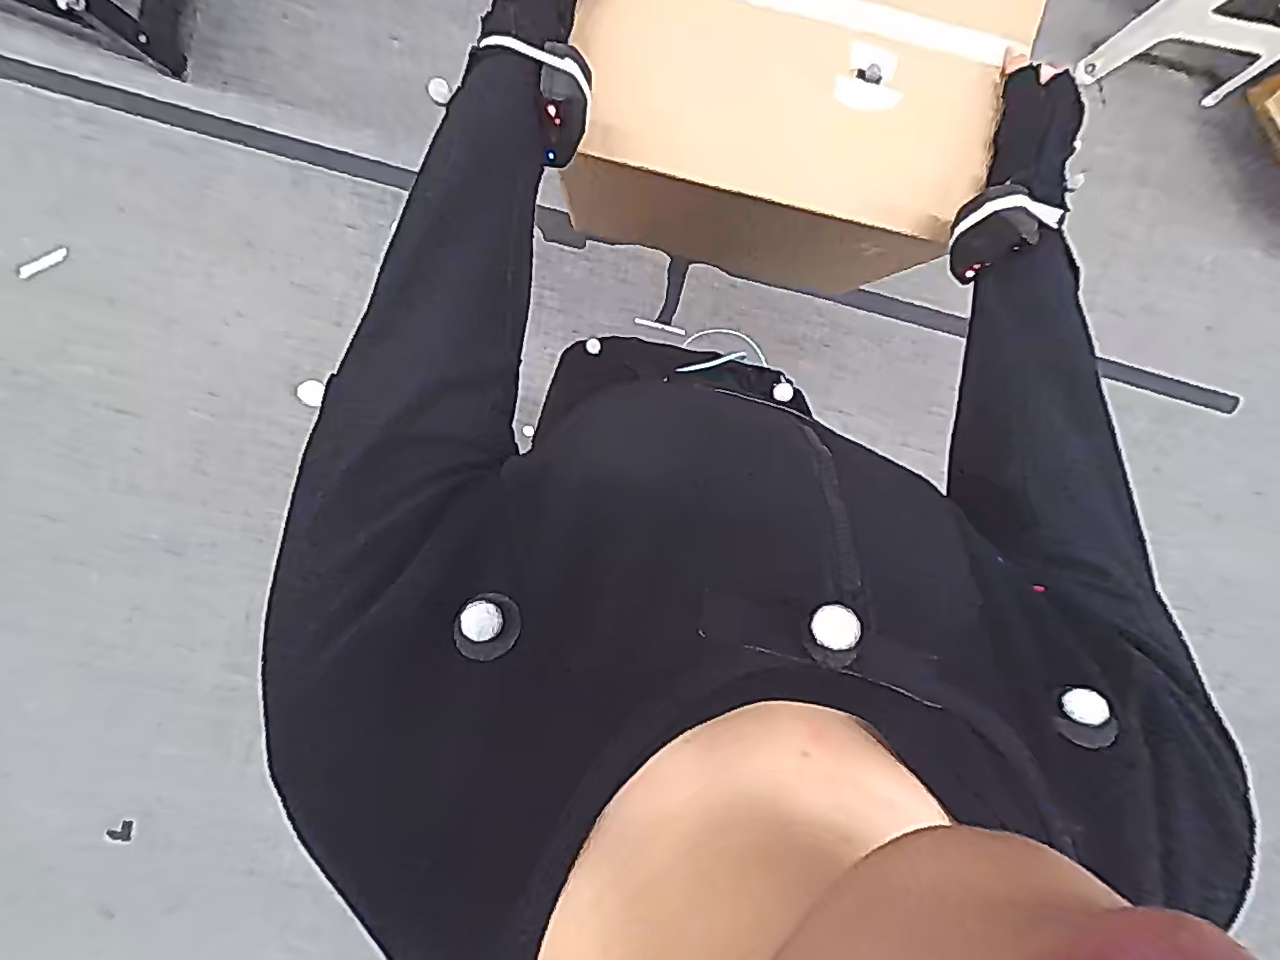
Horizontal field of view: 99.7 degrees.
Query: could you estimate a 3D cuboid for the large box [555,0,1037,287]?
[{"bbox_3d":[0.138,-0.442,0.621,0.408,0.320,0.320,12,102,-5],"label":"large box"}]
